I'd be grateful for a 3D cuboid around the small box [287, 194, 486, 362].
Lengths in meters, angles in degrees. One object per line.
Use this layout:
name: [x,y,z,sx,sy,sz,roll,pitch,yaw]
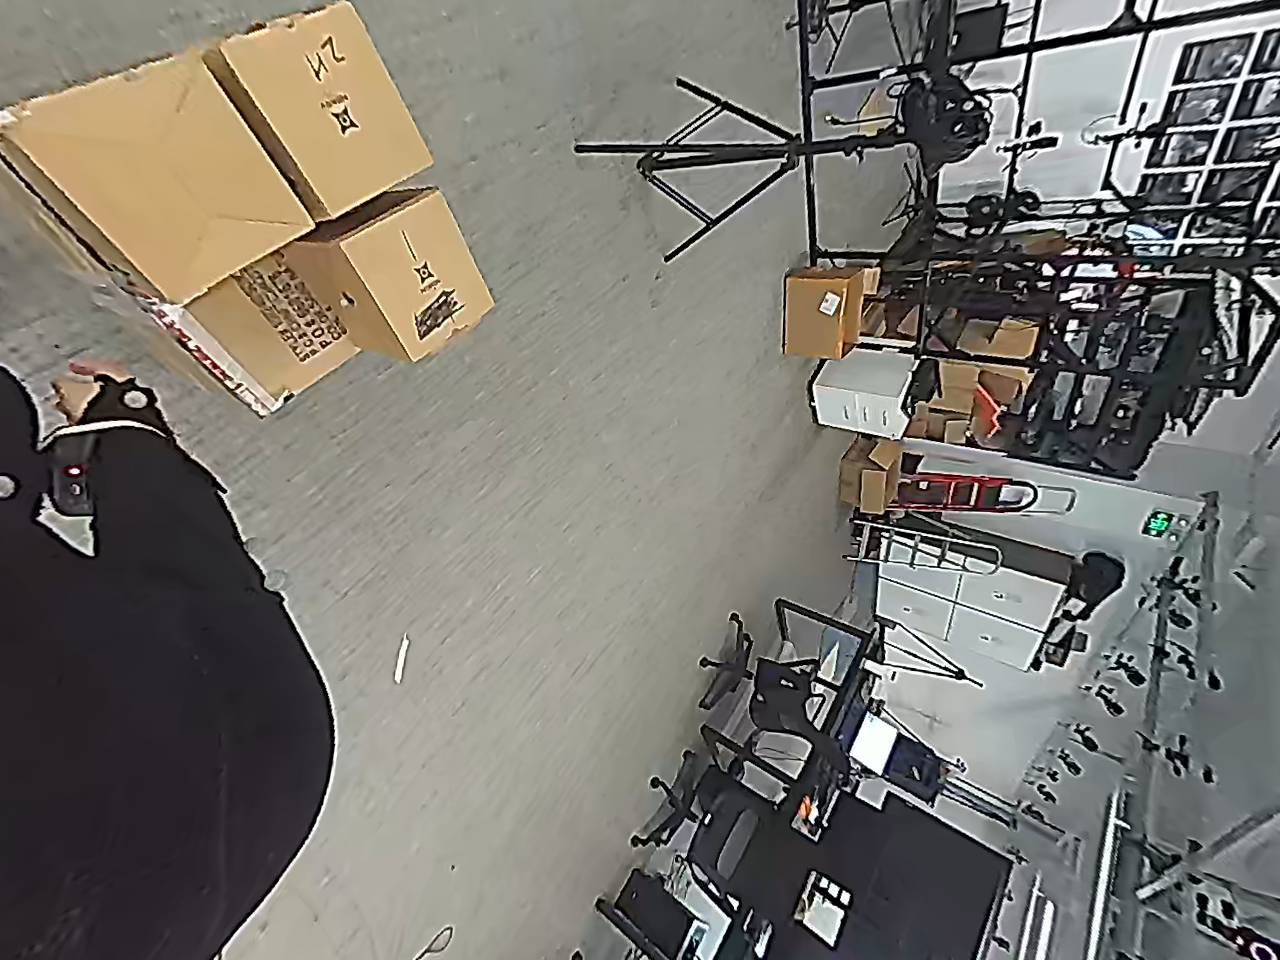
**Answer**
small box: [-0.369,-0.302,0.800,0.168,0.176,0.179,-48,139,-29]
